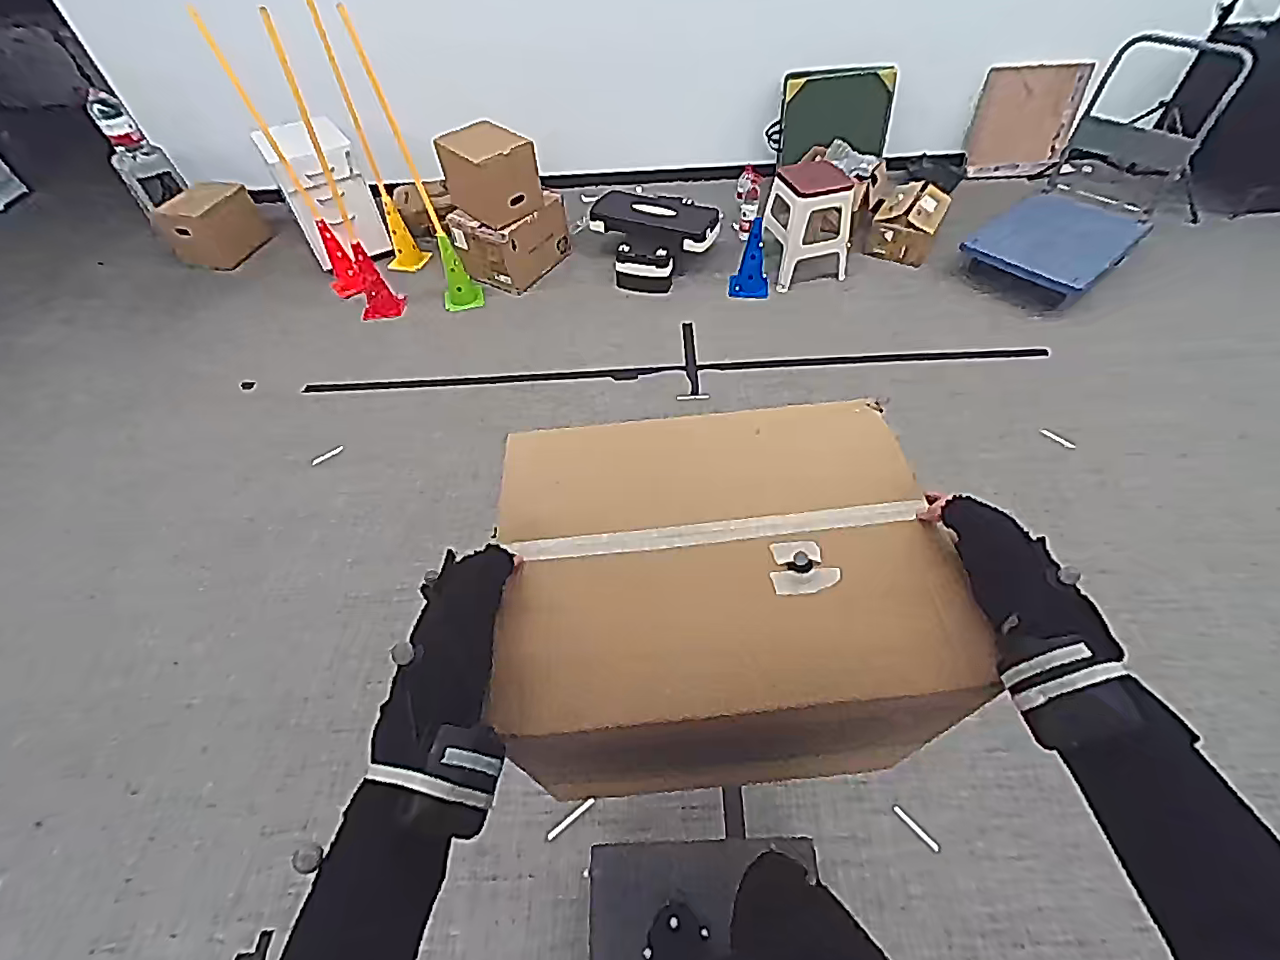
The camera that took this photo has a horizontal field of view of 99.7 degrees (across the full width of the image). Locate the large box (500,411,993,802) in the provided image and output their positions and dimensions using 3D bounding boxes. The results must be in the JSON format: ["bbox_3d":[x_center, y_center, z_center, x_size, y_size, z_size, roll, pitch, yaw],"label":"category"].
[{"bbox_3d":[0.079,0.153,0.631,0.408,0.320,0.320,-6,51,-1],"label":"large box"}]
